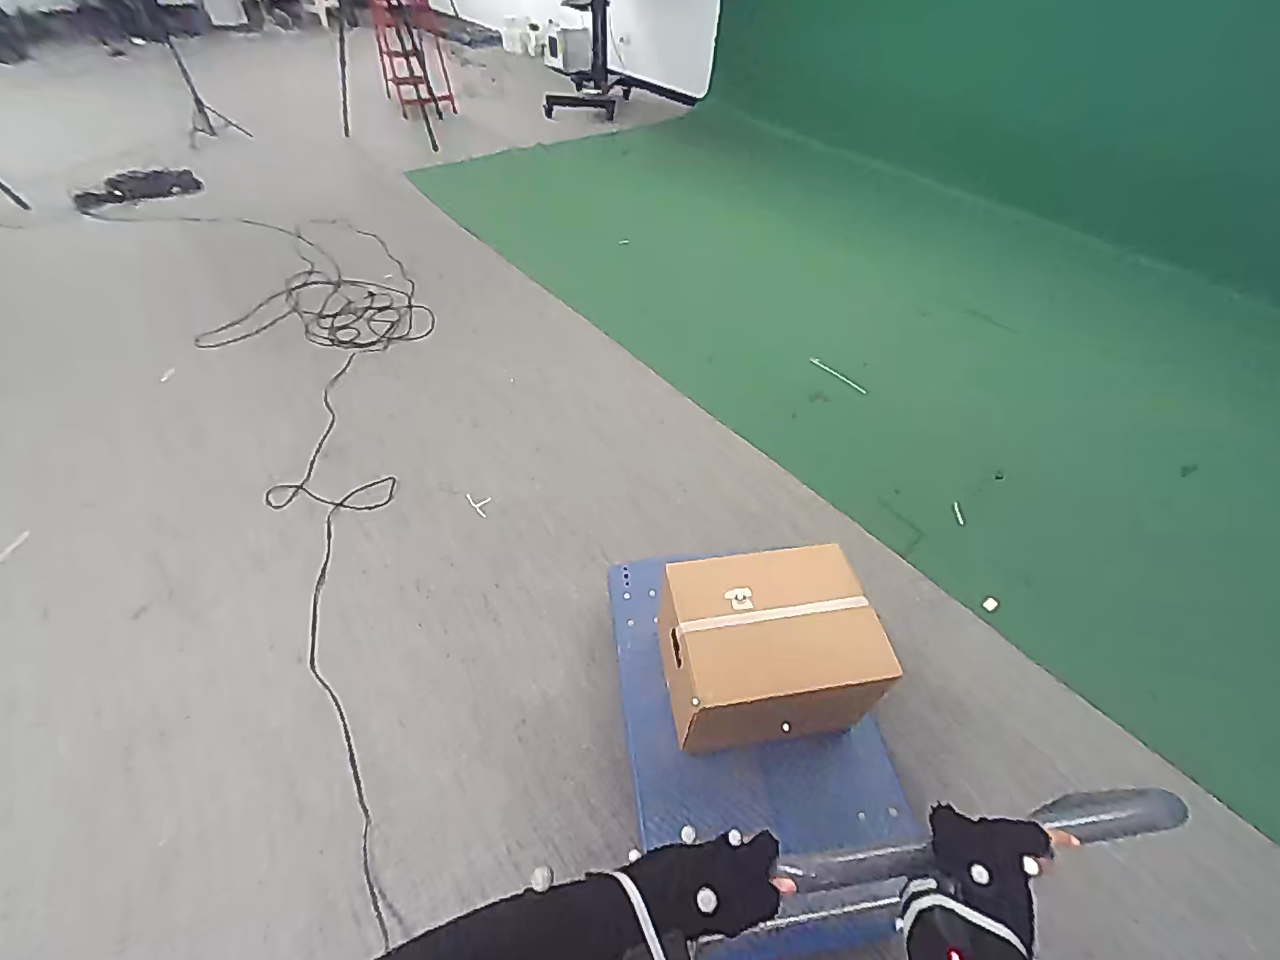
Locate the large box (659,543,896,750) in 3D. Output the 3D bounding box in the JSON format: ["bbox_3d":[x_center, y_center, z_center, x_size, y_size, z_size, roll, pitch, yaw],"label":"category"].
[{"bbox_3d":[0.273,0.377,1.221,0.408,0.320,0.320,-7,49,-8],"label":"large box"}]
